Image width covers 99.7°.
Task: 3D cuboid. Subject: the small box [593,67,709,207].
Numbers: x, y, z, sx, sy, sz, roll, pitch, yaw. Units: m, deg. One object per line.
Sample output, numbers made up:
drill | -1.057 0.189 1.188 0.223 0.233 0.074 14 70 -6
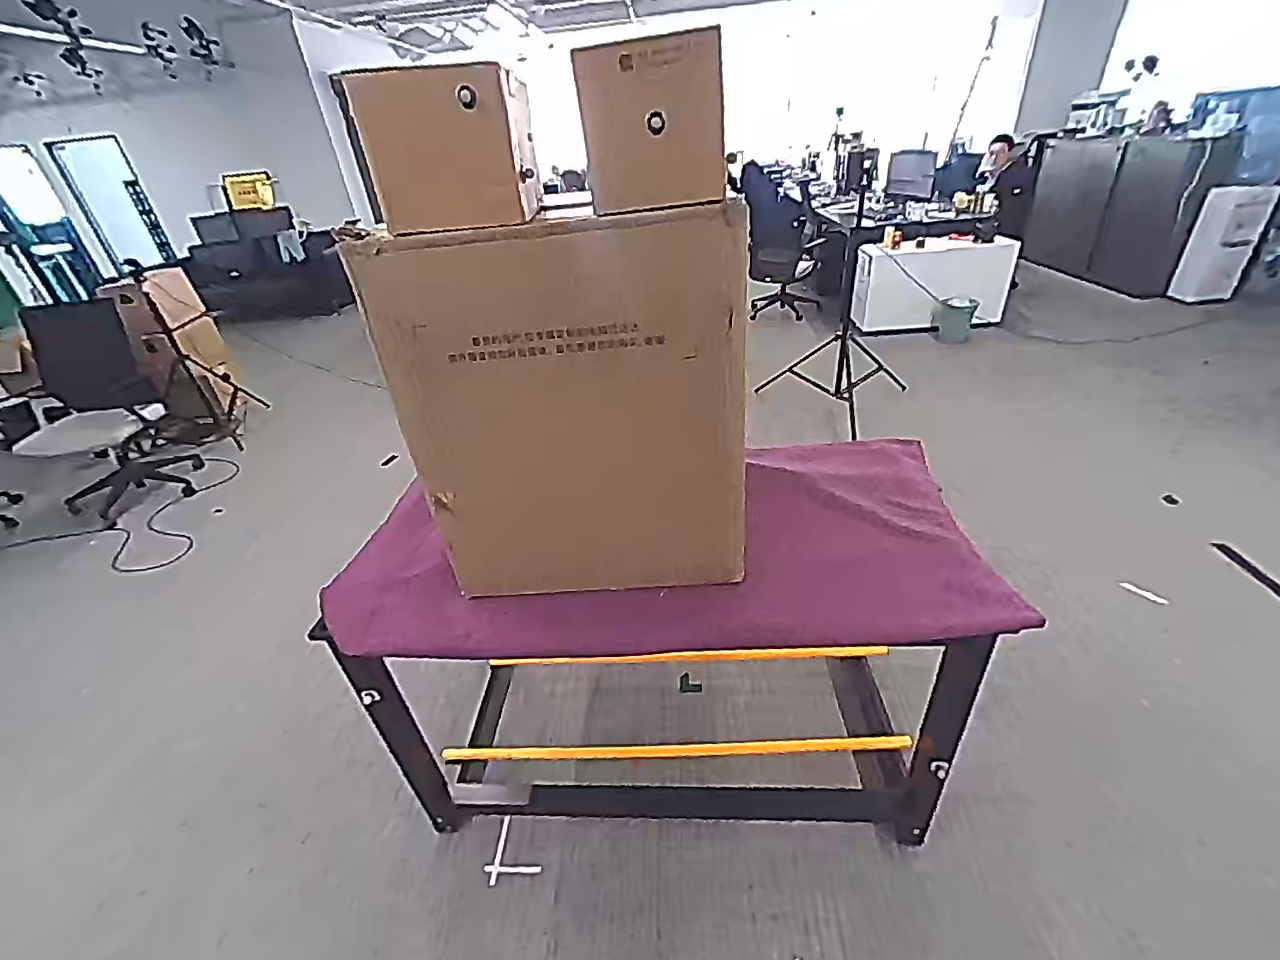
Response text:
small box | 0.025 -0.546 0.876 0.168 0.176 0.179 -3 32 6
